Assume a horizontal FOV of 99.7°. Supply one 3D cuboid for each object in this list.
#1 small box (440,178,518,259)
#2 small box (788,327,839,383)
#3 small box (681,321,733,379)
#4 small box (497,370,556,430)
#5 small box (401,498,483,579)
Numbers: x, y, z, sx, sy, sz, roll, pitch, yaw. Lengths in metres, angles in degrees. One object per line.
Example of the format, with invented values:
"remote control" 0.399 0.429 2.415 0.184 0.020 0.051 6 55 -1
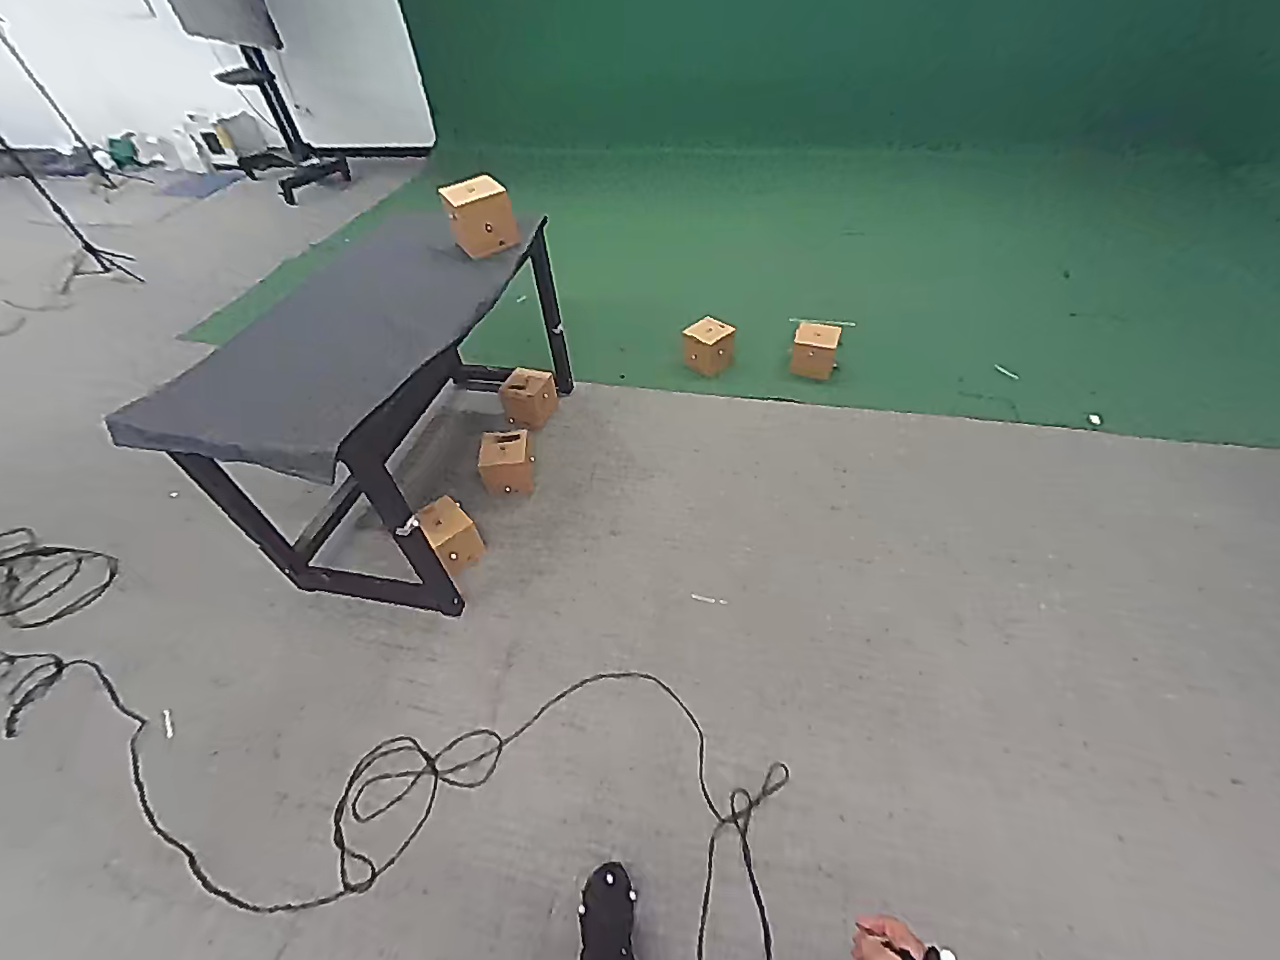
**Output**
"small box" -0.504 -0.824 1.712 0.168 0.176 0.179 -27 50 -16
"small box" 0.755 -0.545 2.364 0.179 0.176 0.168 15 51 16
"small box" 0.302 -0.584 2.437 0.179 0.176 0.168 -35 53 -25
"small box" -0.465 -0.330 2.251 0.168 0.176 0.179 12 48 14
"small box" -0.641 0.198 1.768 0.168 0.176 0.179 -37 54 -26
